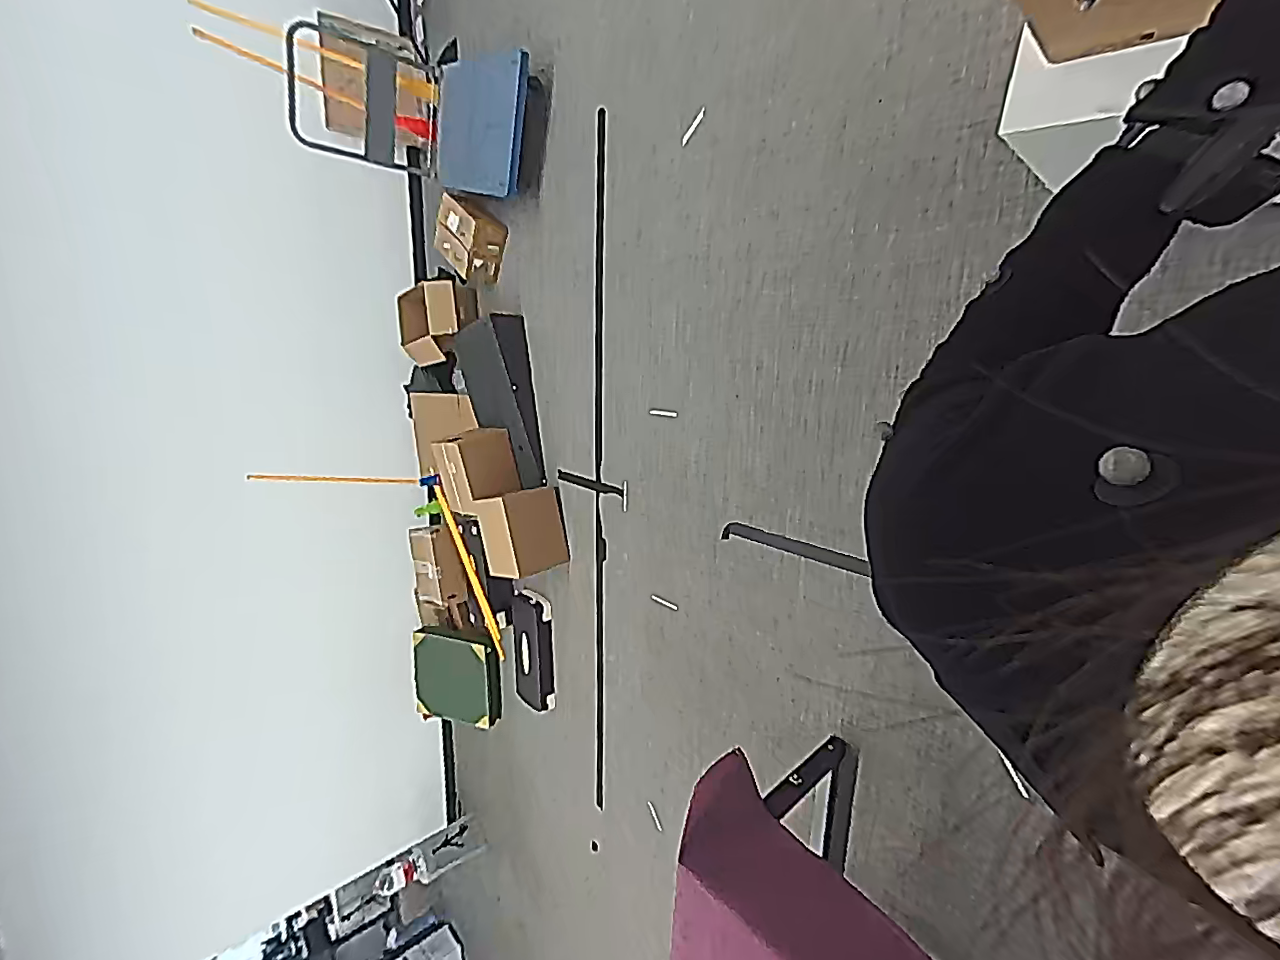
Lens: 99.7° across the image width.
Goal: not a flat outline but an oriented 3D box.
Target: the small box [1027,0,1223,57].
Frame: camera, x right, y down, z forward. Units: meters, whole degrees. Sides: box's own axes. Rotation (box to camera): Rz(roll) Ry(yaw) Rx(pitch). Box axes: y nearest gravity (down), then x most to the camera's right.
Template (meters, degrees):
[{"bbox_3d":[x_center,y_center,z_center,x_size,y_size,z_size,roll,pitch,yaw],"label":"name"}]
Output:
[{"bbox_3d":[0.546,-0.610,0.585,0.168,0.176,0.179,23,113,44],"label":"small box"}]
